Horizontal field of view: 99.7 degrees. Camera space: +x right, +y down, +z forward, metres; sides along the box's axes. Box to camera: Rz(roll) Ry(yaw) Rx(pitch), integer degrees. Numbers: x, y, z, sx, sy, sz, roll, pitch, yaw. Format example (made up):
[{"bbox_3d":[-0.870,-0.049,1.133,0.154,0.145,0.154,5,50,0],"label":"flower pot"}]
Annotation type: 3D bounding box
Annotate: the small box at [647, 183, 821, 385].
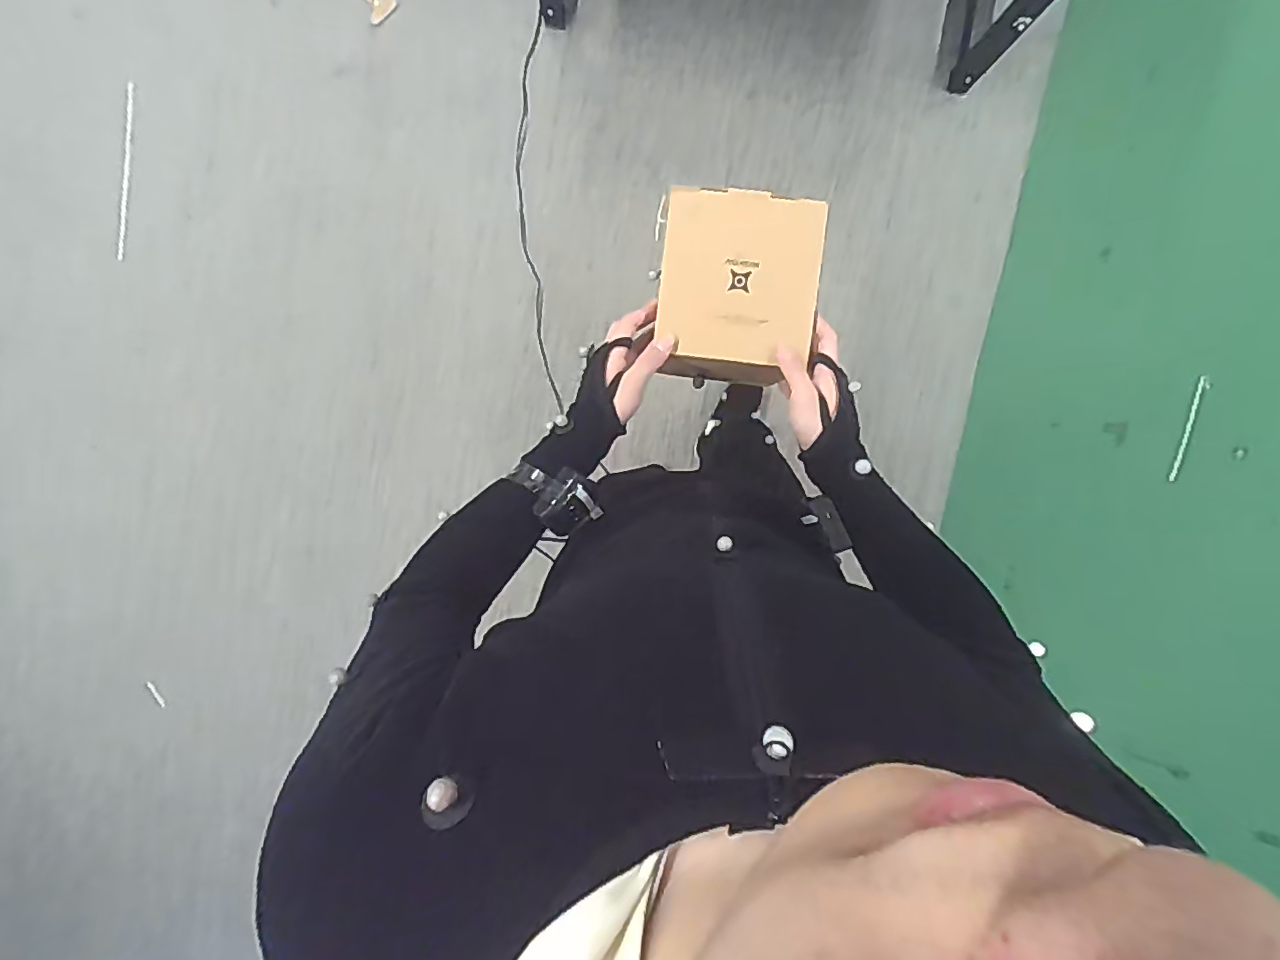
[{"bbox_3d":[0.099,-0.219,0.645,0.168,0.176,0.179,7,94,1],"label":"small box"}]
